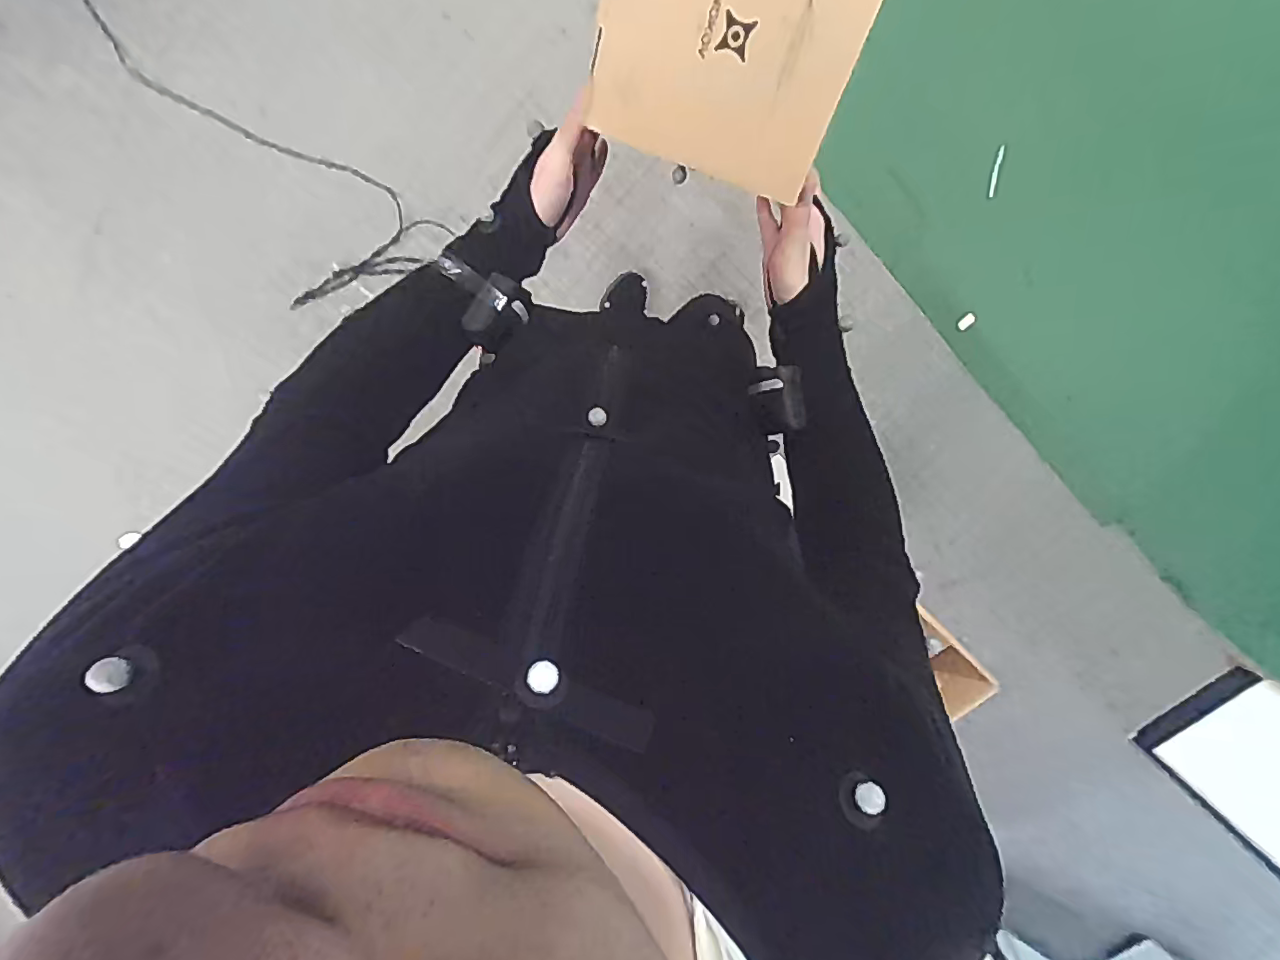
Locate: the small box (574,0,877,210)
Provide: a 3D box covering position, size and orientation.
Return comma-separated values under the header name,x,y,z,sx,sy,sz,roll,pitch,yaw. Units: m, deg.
name,x,y,z,sx,sy,sz,roll,pitch,yaw
small box,0.064,-0.339,0.436,0.179,0.176,0.168,18,123,-5
